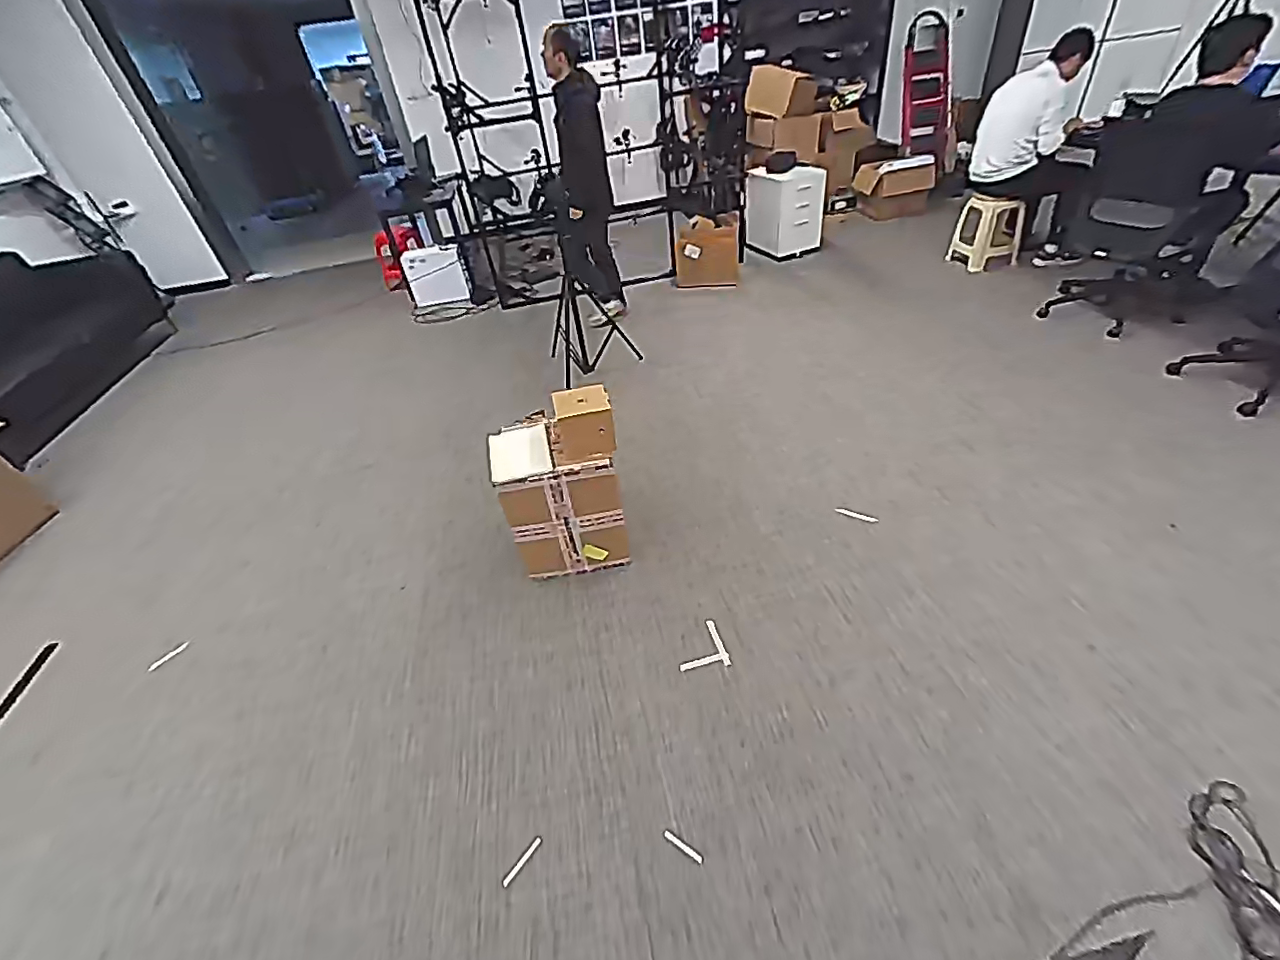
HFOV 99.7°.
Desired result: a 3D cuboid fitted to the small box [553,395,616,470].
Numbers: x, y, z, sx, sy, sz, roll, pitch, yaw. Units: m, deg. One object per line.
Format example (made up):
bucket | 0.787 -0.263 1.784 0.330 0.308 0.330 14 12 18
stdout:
small box | -0.182 -0.157 1.793 0.179 0.176 0.168 -13 40 -7
